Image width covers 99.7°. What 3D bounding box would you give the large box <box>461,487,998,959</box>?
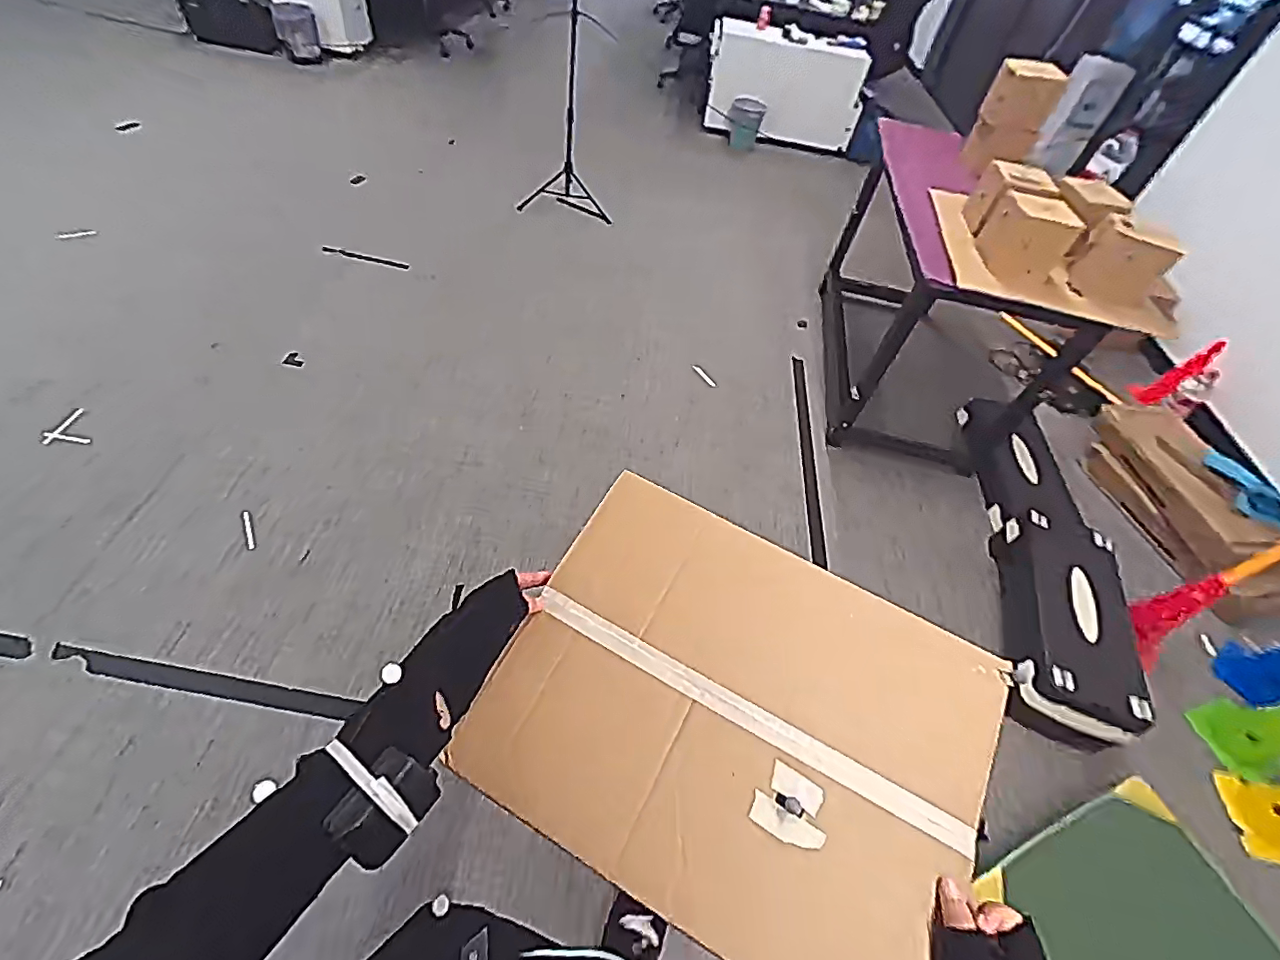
[{"bbox_3d":[0.084,0.275,0.610,0.408,0.320,0.320,27,65,12],"label":"large box"}]
